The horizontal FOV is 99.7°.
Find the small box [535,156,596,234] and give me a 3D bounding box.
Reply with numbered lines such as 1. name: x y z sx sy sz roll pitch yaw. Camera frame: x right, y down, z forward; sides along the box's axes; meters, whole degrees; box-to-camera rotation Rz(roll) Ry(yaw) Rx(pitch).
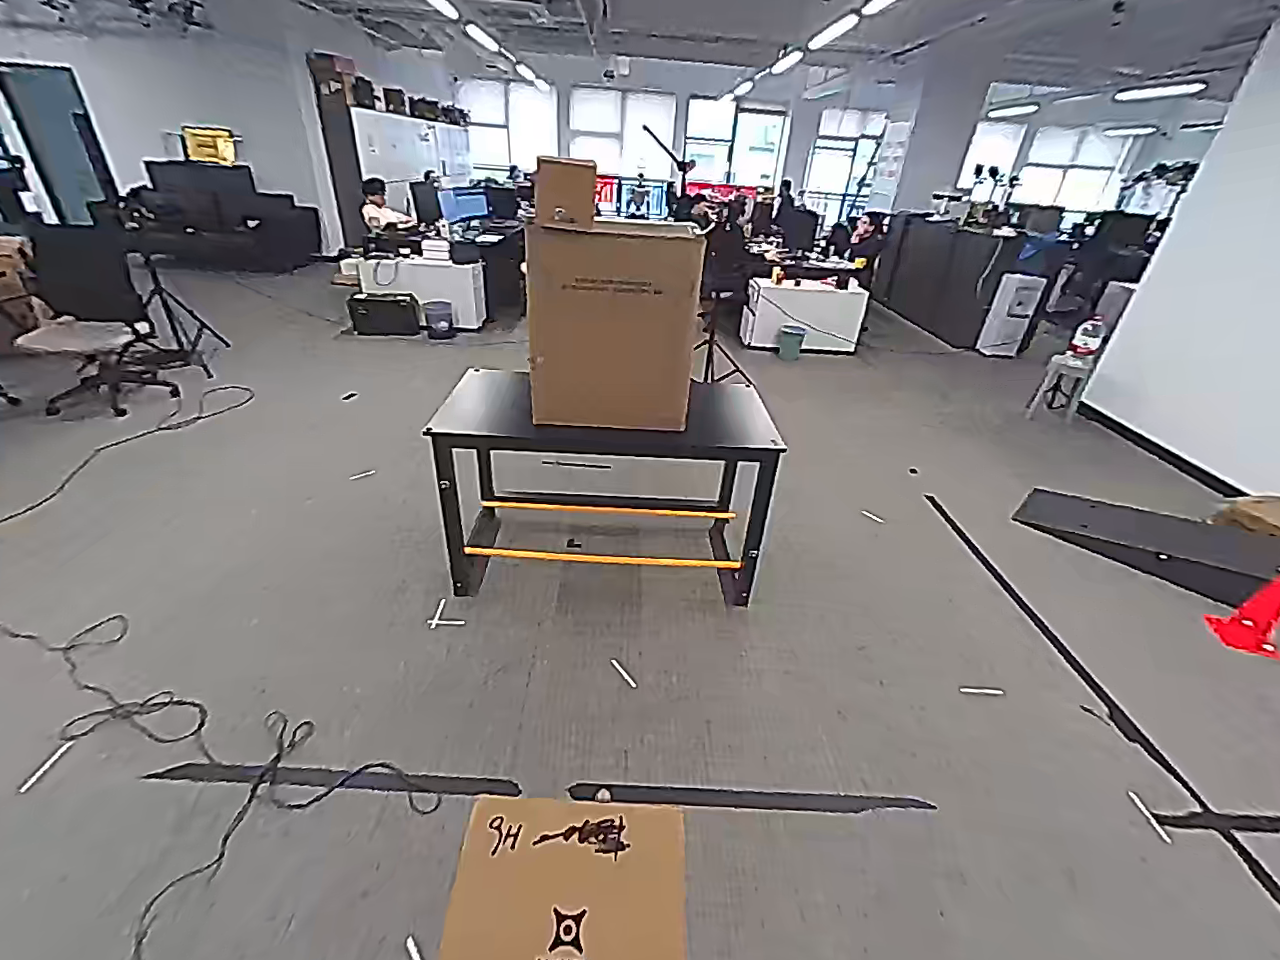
1. small box: -0.212 -0.814 1.542 0.168 0.176 0.179 2 34 -7
